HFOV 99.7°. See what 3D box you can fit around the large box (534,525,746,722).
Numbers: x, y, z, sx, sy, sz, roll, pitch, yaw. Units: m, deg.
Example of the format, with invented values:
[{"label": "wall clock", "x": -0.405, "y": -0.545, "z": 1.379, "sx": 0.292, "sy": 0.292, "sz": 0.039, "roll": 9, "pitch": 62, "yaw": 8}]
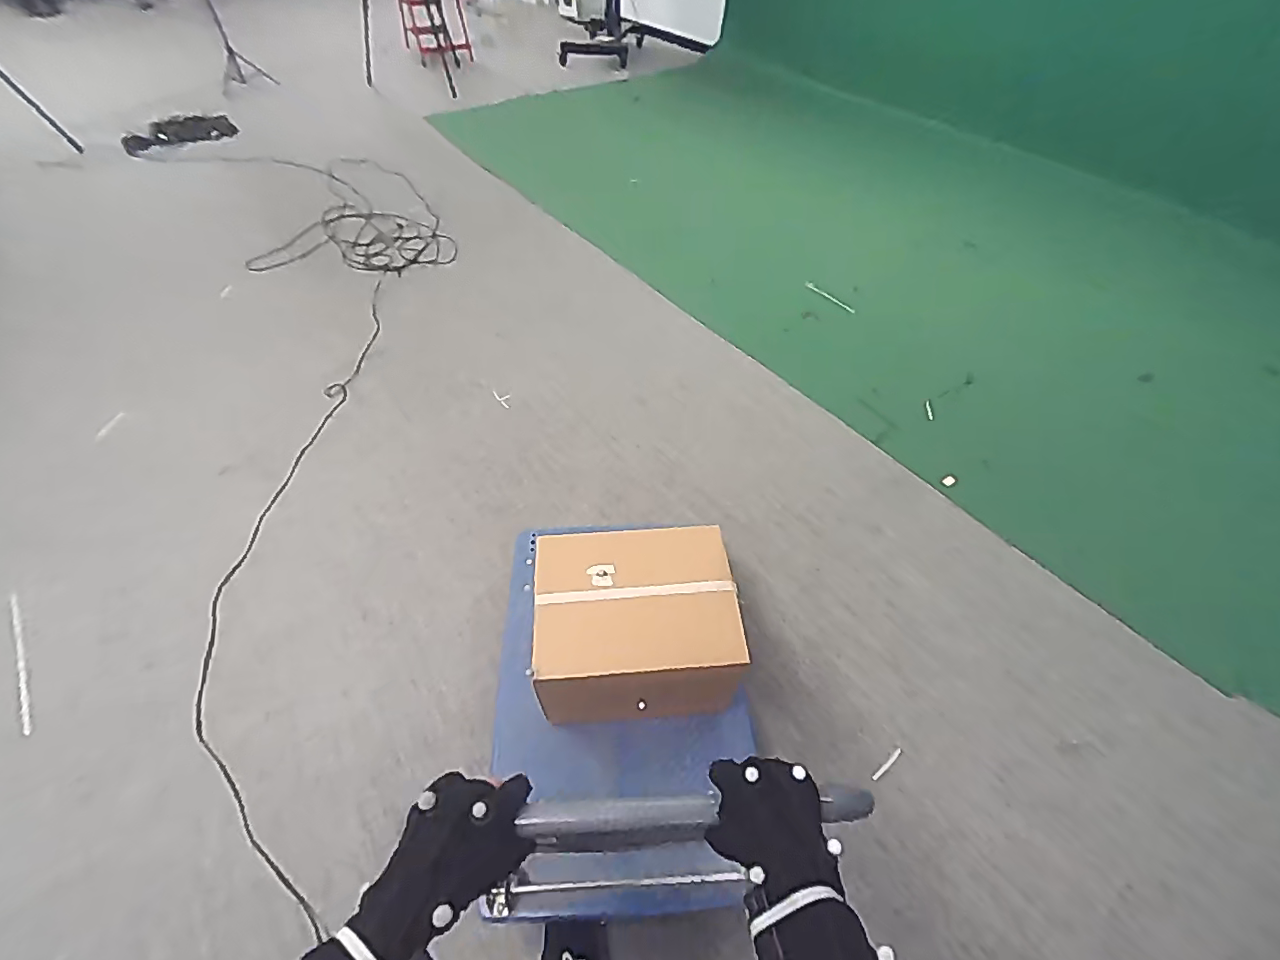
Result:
[{"label": "large box", "x": -0.013, "y": 0.325, "z": 1.206, "sx": 0.408, "sy": 0.320, "sz": 0.320, "roll": -4, "pitch": 51, "yaw": -4}]
